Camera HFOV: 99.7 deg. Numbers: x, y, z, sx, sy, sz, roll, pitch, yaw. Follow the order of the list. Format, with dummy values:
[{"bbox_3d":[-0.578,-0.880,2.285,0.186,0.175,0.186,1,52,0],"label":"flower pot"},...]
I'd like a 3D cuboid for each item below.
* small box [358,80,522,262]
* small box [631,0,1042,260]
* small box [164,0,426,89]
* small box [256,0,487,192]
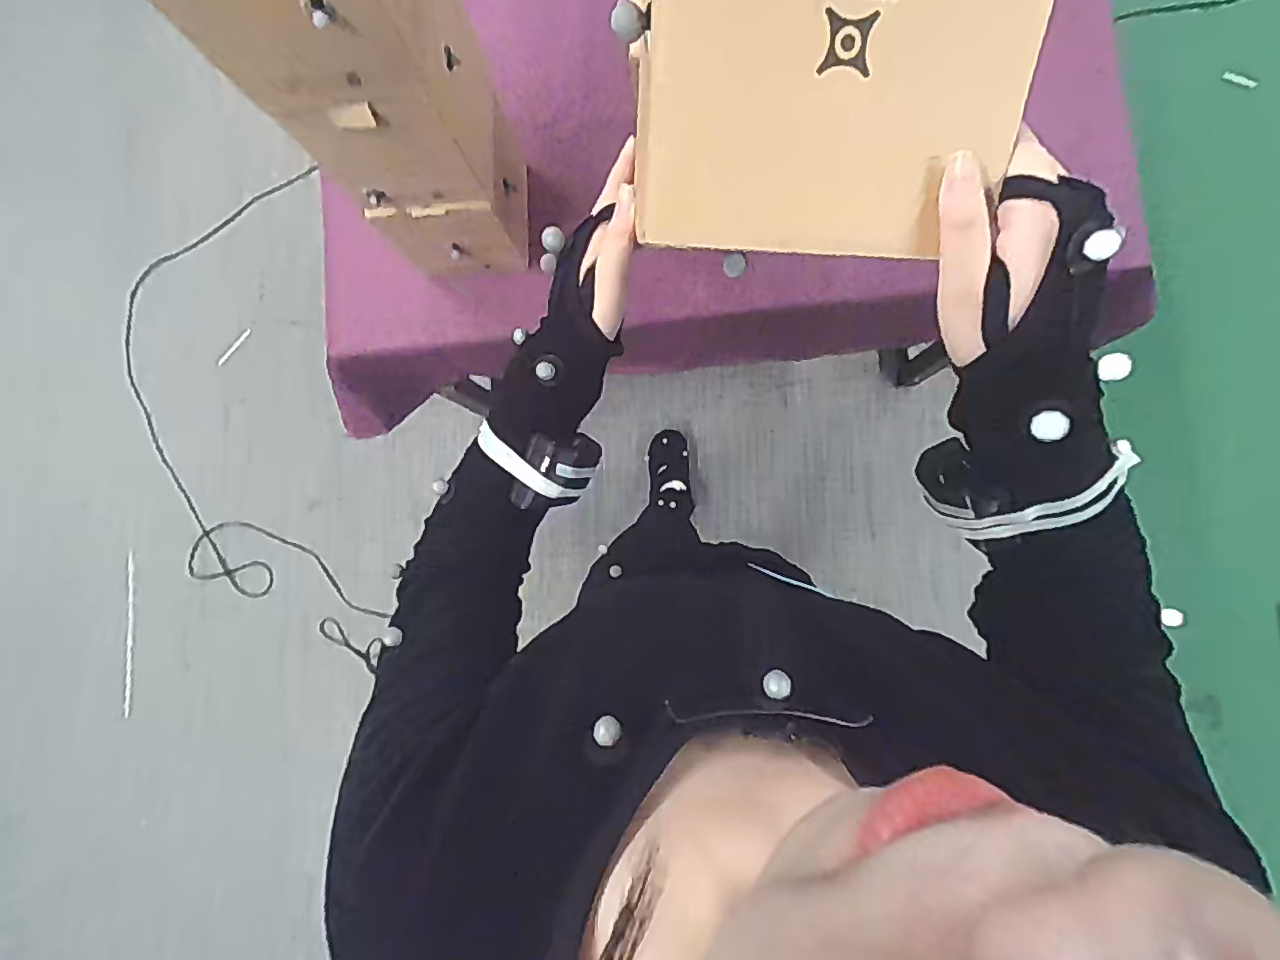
[{"bbox_3d":[-0.264,-0.418,0.748,0.168,0.176,0.179,-2,87,3],"label":"small box"},{"bbox_3d":[0.082,-0.224,0.300,0.168,0.176,0.179,3,113,-4],"label":"small box"},{"bbox_3d":[-0.282,-0.444,0.422,0.168,0.176,0.179,-3,85,3],"label":"small box"},{"bbox_3d":[-0.272,-0.436,0.585,0.168,0.176,0.179,-1,85,3],"label":"small box"}]
